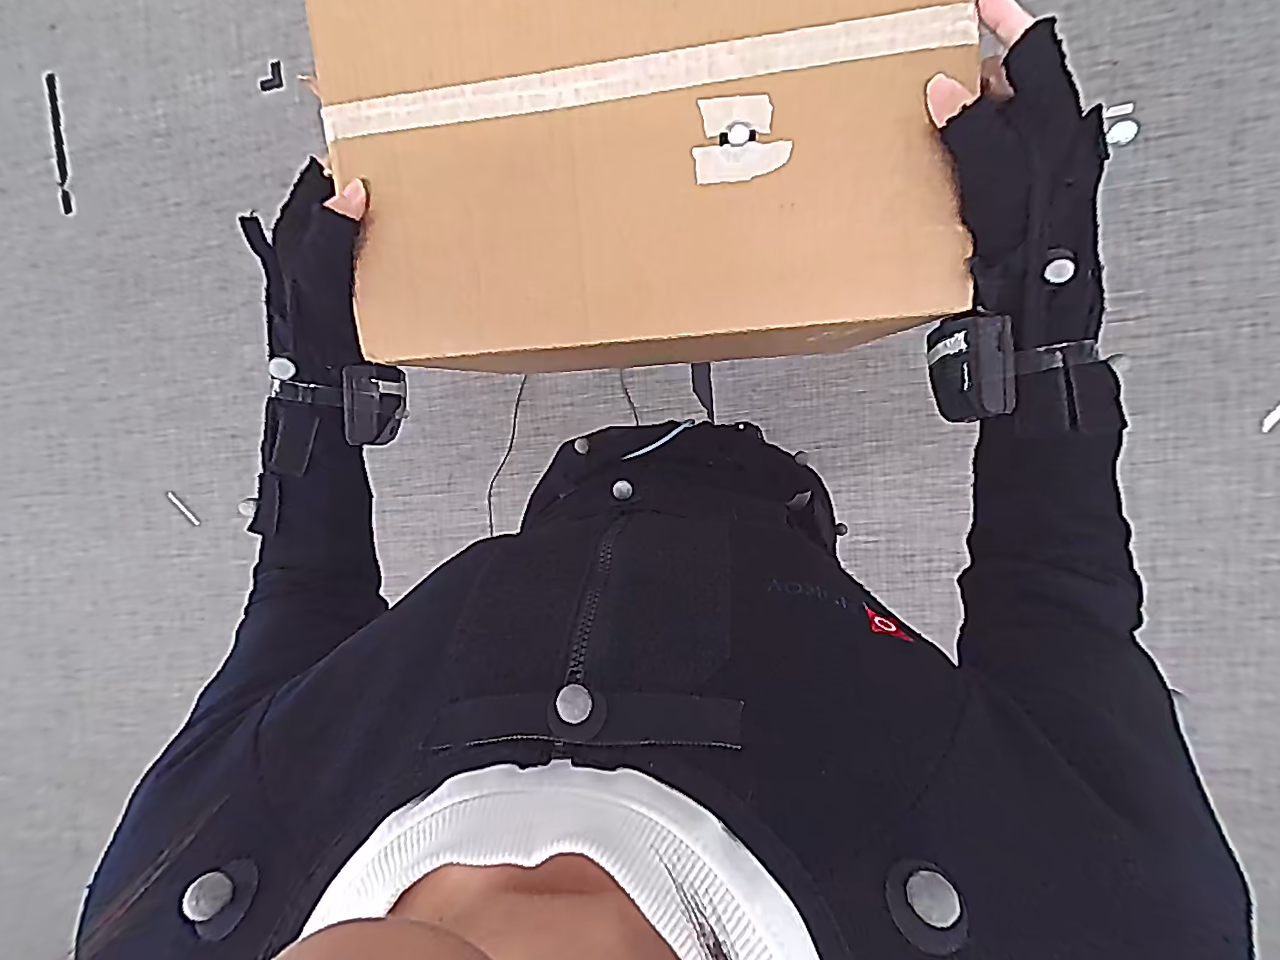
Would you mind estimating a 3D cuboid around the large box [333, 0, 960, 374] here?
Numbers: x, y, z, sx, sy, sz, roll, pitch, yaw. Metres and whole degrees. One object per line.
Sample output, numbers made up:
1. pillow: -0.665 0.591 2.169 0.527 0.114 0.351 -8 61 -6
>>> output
1. large box: 0.011 -0.277 0.496 0.408 0.320 0.320 -3 99 7
